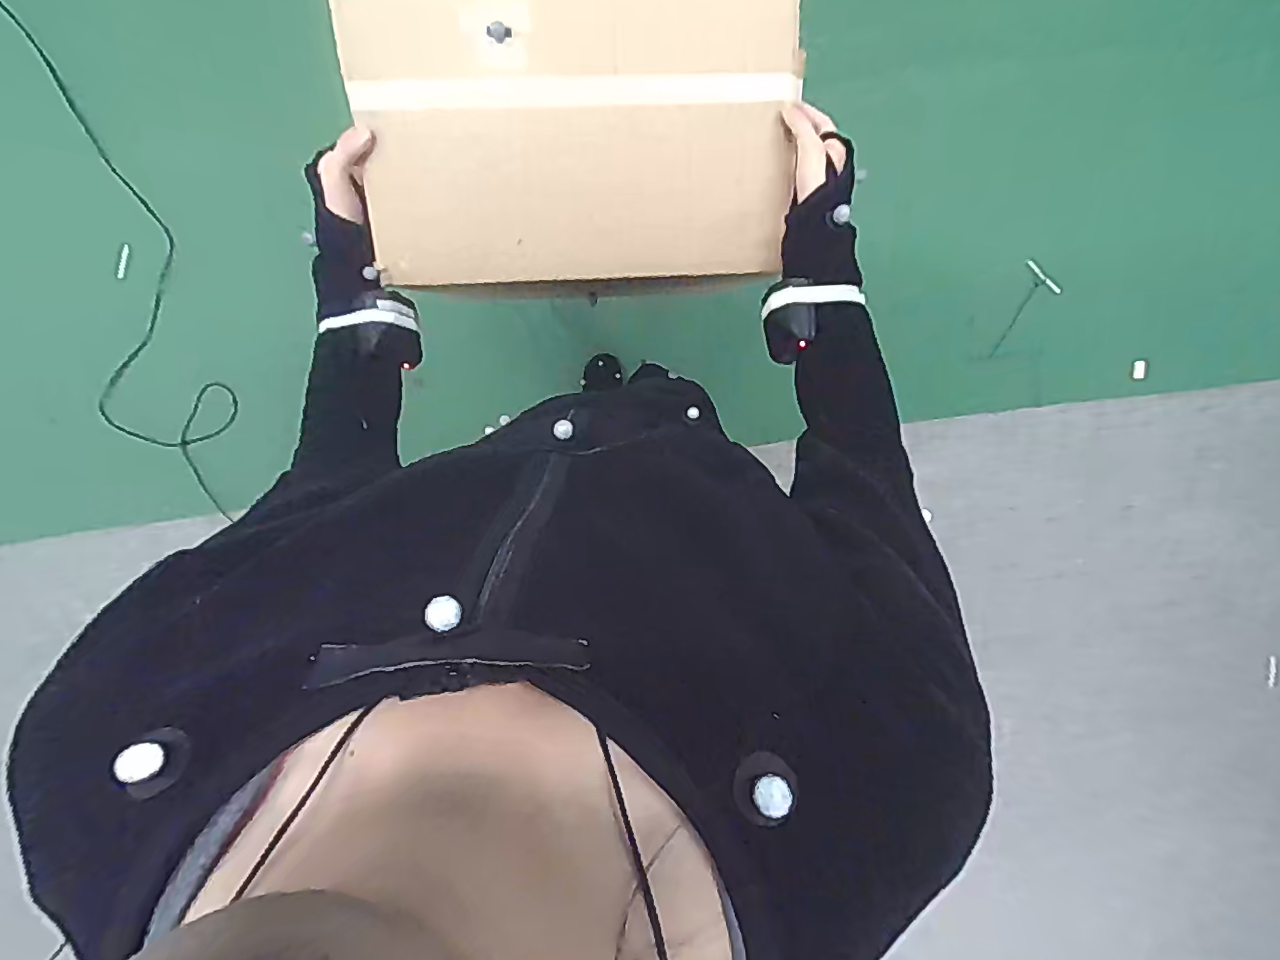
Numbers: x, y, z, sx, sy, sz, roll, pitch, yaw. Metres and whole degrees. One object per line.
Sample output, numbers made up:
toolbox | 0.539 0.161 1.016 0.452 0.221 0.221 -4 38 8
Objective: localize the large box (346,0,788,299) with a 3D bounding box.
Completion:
large box | -0.066 -0.391 0.651 0.408 0.320 0.320 -3 105 -3
